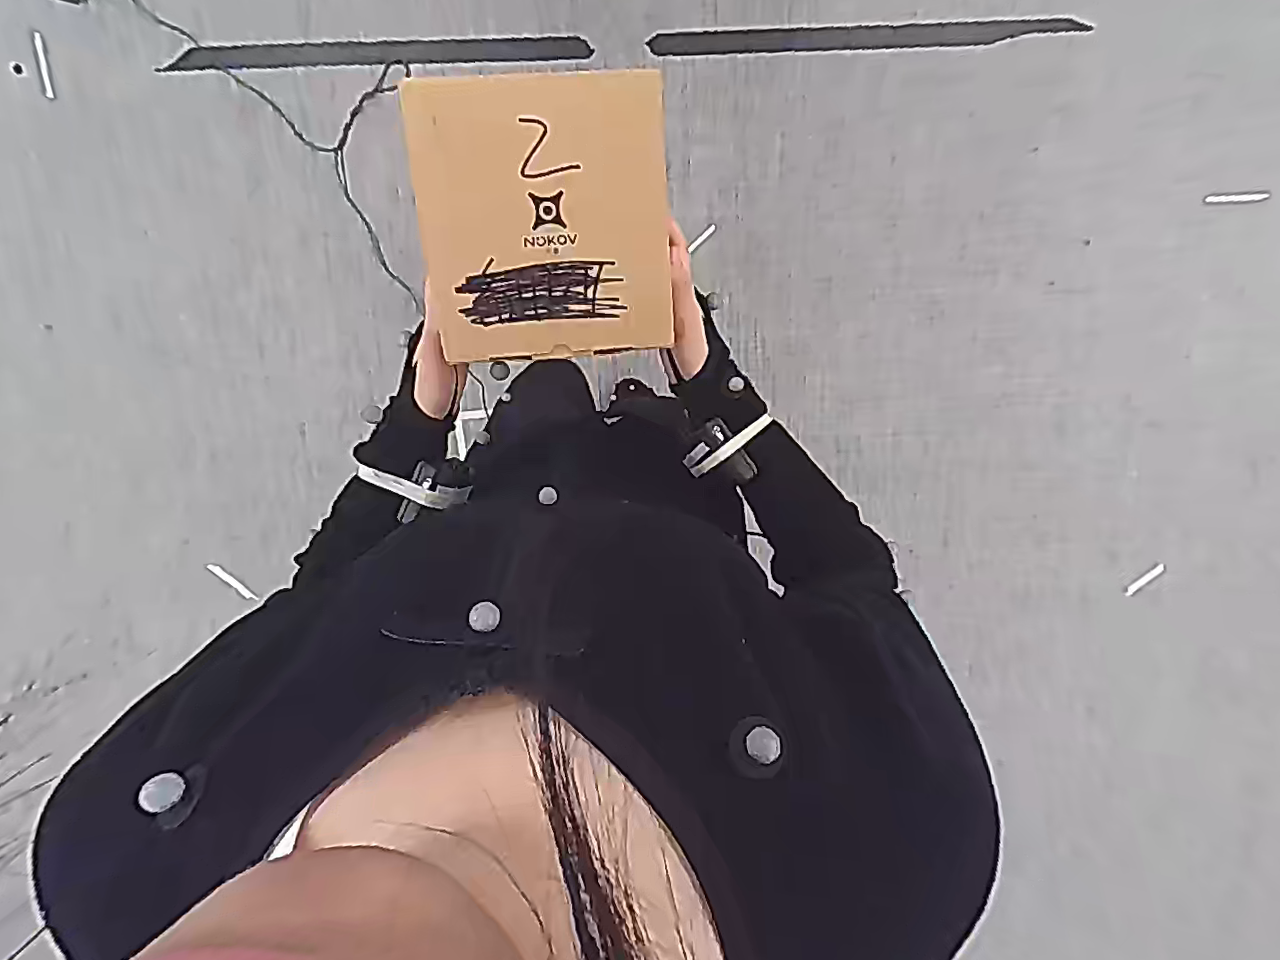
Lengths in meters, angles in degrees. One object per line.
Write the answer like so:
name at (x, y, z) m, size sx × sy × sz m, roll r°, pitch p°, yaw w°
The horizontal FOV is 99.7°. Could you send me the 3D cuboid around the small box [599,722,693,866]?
small box at (0.013, 0.596, 1.040) m, size 0.168 × 0.176 × 0.179 m, roll -3°, pitch 99°, yaw 0°
